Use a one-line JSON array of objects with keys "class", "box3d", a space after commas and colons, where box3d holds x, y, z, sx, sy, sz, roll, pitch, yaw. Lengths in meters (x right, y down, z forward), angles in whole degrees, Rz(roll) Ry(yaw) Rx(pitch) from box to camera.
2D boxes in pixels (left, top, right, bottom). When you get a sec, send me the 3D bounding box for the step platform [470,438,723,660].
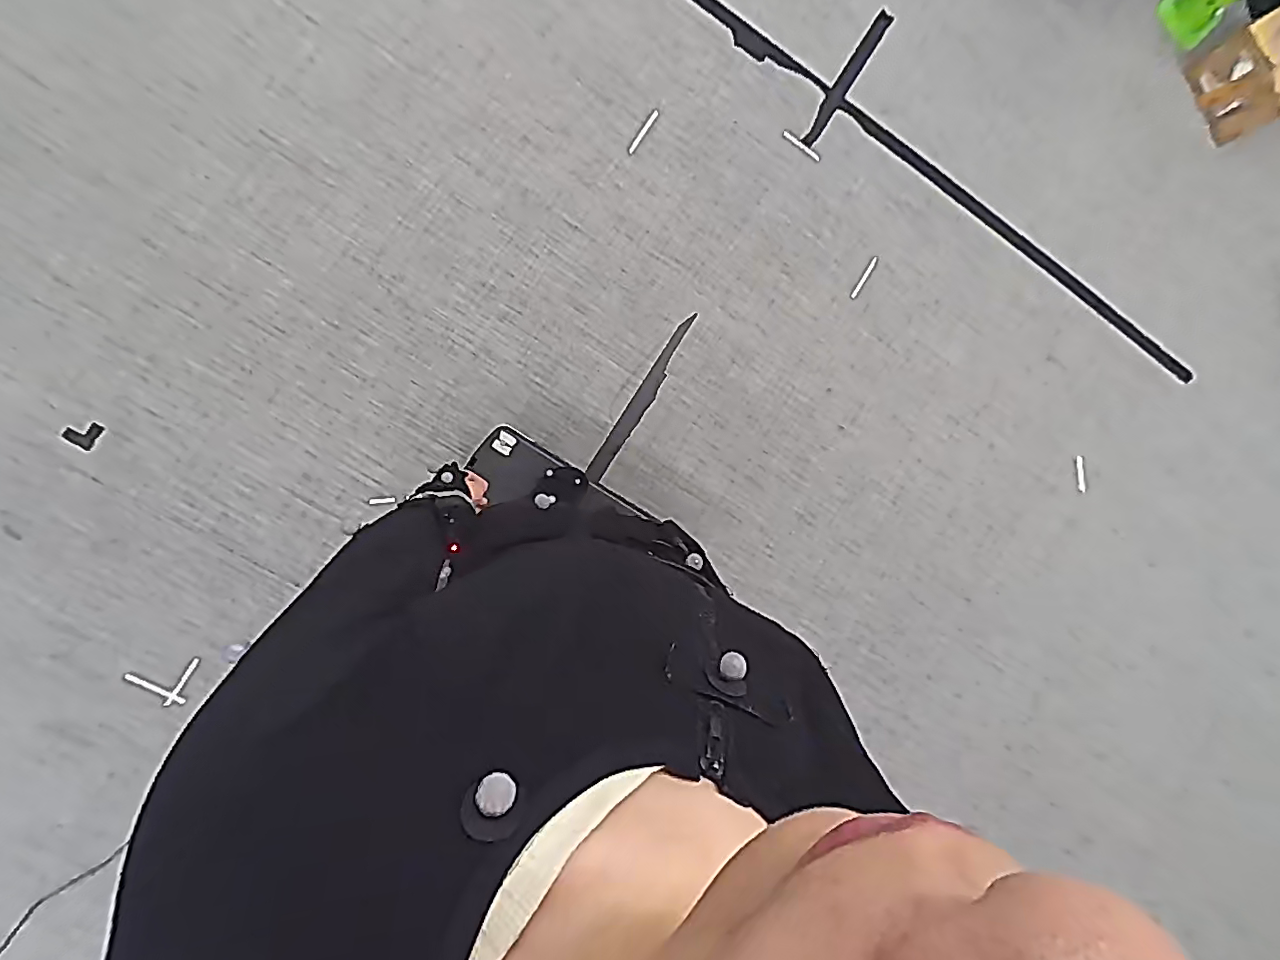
[{"class": "step platform", "box3d": [-0.112, 0.186, 1.465, 0.684, 0.204, 0.286, 37, 84, -8]}]
